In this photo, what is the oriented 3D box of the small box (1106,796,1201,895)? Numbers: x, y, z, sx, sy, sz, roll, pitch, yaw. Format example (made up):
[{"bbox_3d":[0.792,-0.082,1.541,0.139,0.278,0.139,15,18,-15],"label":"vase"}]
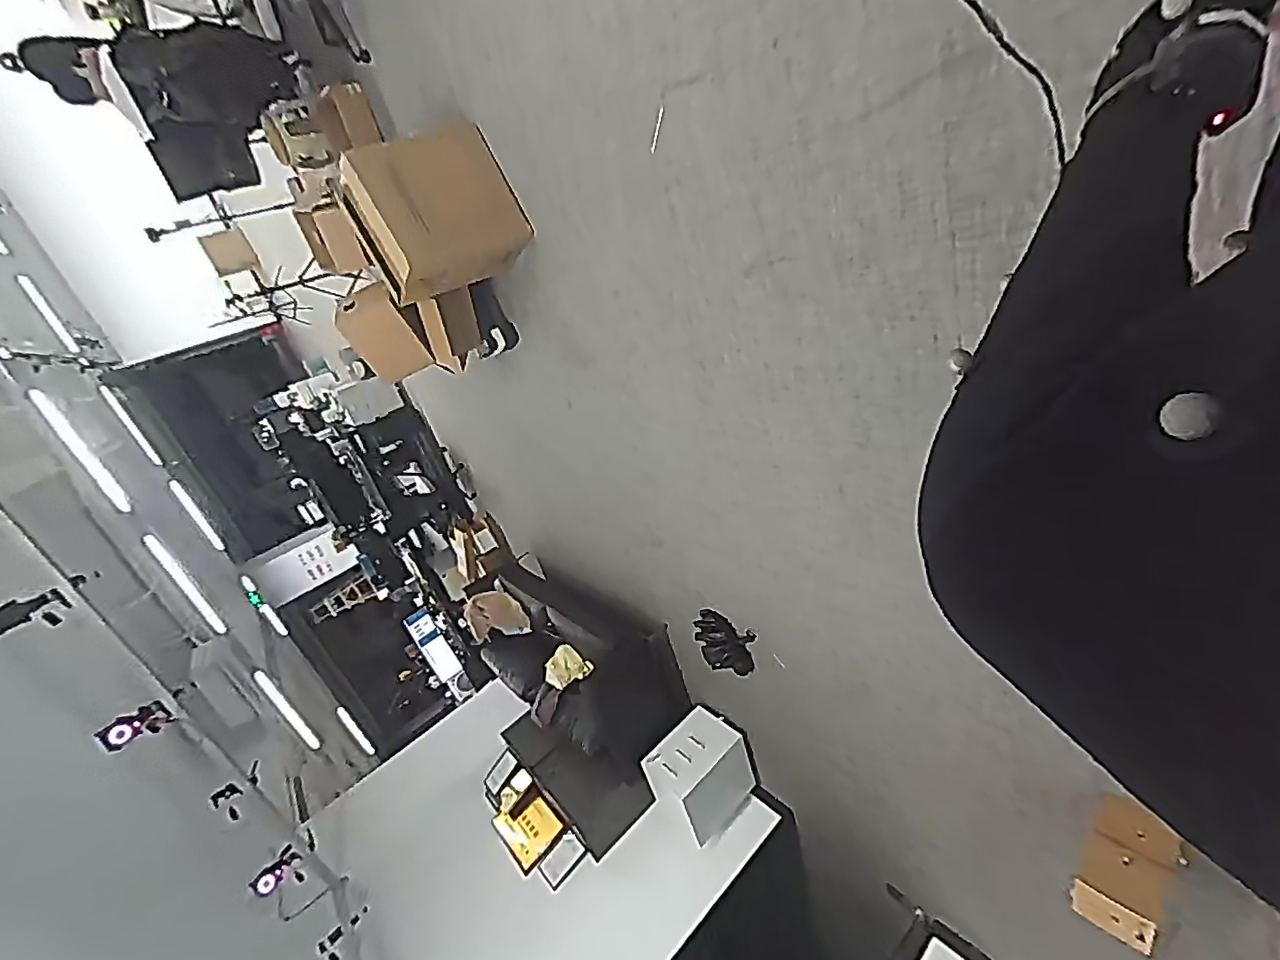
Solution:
[{"bbox_3d":[1.512,1.080,1.598,0.179,0.176,0.168,12,129,51],"label":"small box"}]

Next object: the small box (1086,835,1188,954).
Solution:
[{"bbox_3d":[1.390,1.146,1.517,0.179,0.176,0.168,11,126,52],"label":"small box"}]
